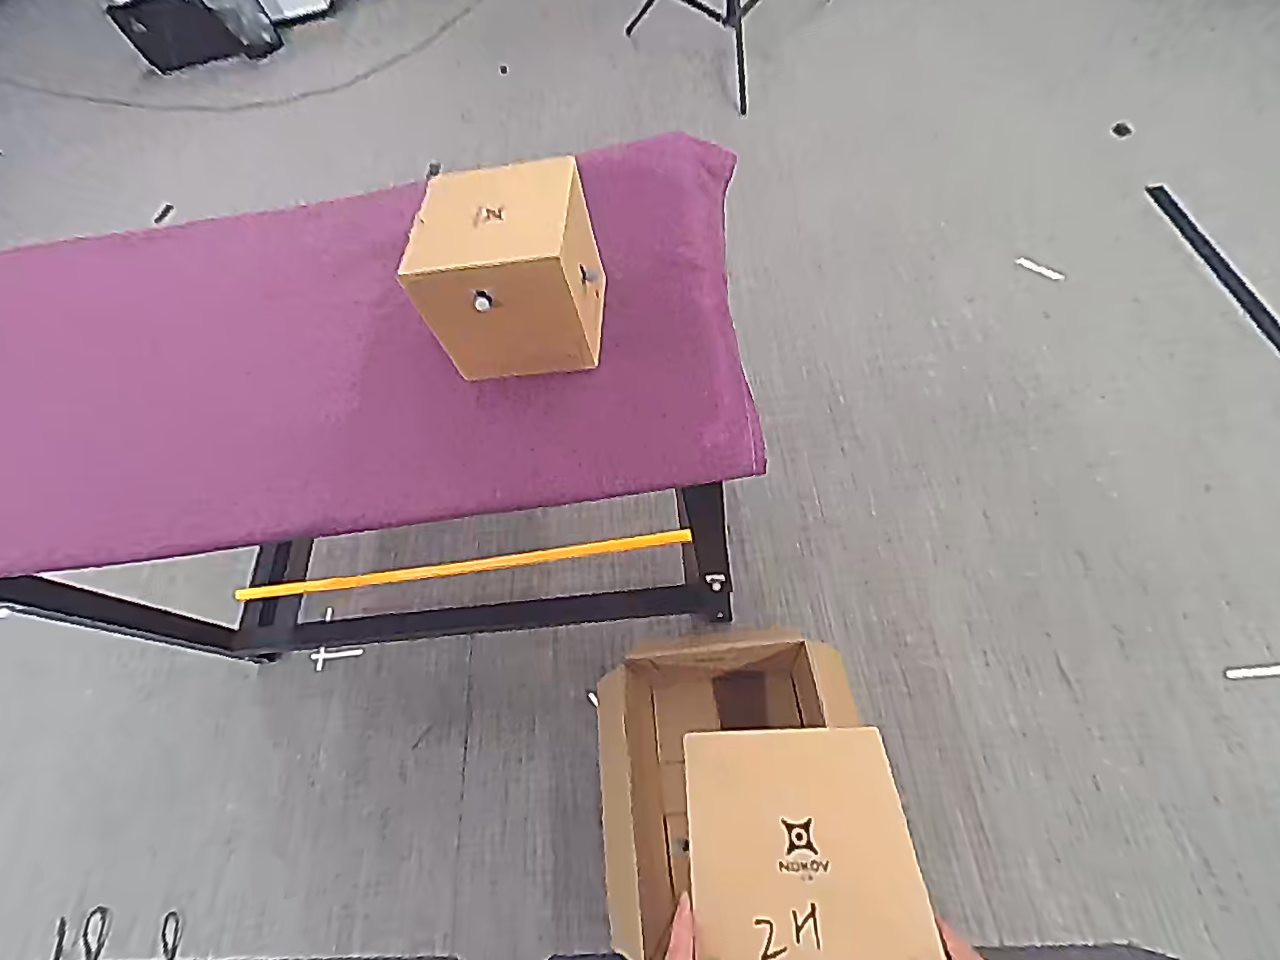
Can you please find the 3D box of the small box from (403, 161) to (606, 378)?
[{"bbox_3d":[-0.142,-0.240,0.645,0.179,0.176,0.168,-3,61,10],"label":"small box"}]

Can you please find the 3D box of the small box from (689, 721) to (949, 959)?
[{"bbox_3d":[0.128,0.326,0.458,0.168,0.176,0.179,-4,46,5],"label":"small box"}]
